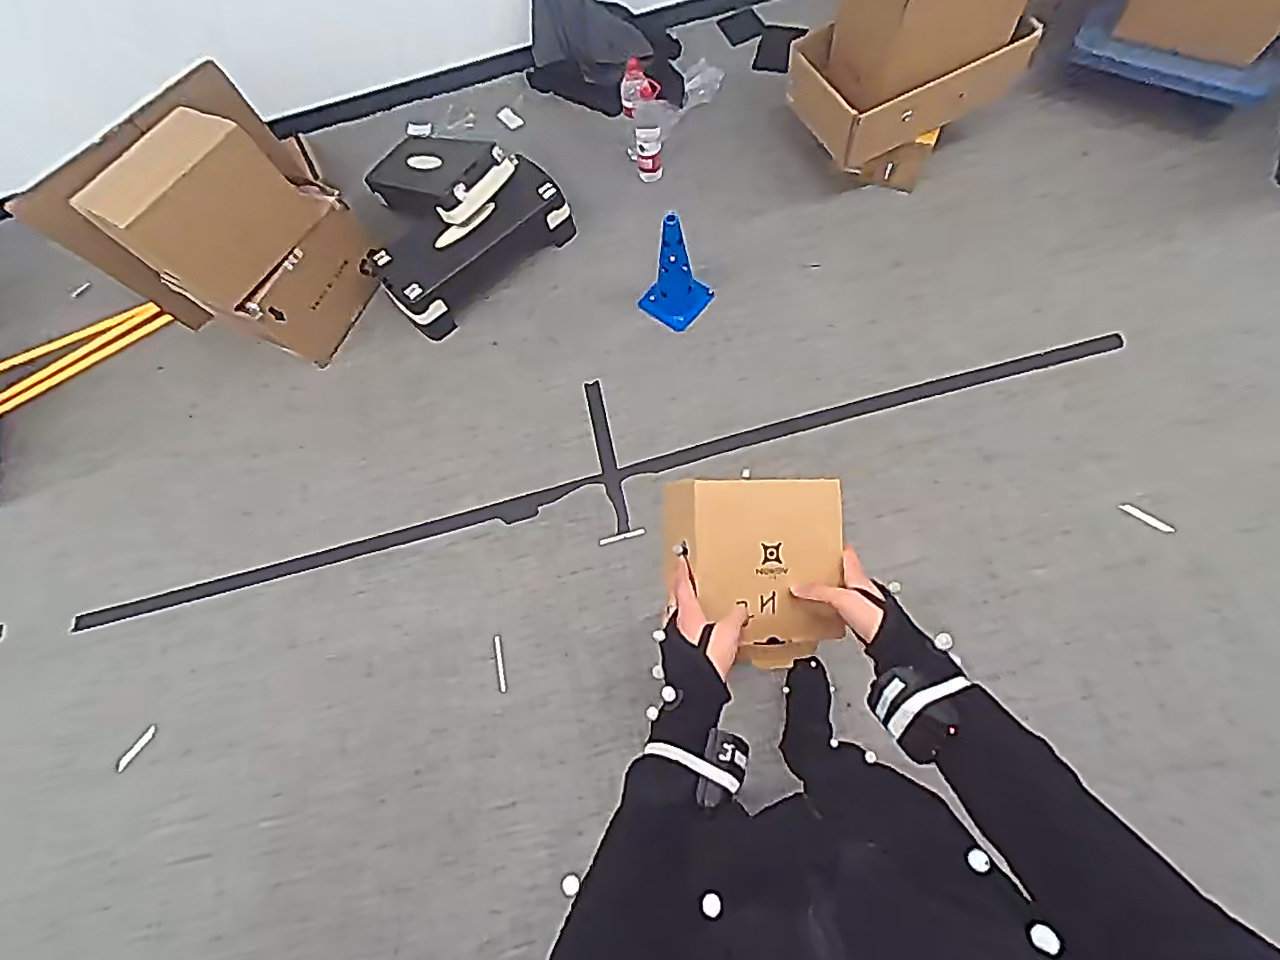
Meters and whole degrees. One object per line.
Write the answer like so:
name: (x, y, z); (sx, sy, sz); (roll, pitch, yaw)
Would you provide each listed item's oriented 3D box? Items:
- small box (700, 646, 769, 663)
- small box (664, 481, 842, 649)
small box: (0.230, 0.376, 1.411); (0.168, 0.176, 0.179); (-11, 69, 3)
small box: (0.124, 0.092, 0.652); (0.168, 0.176, 0.179); (0, 88, -8)
